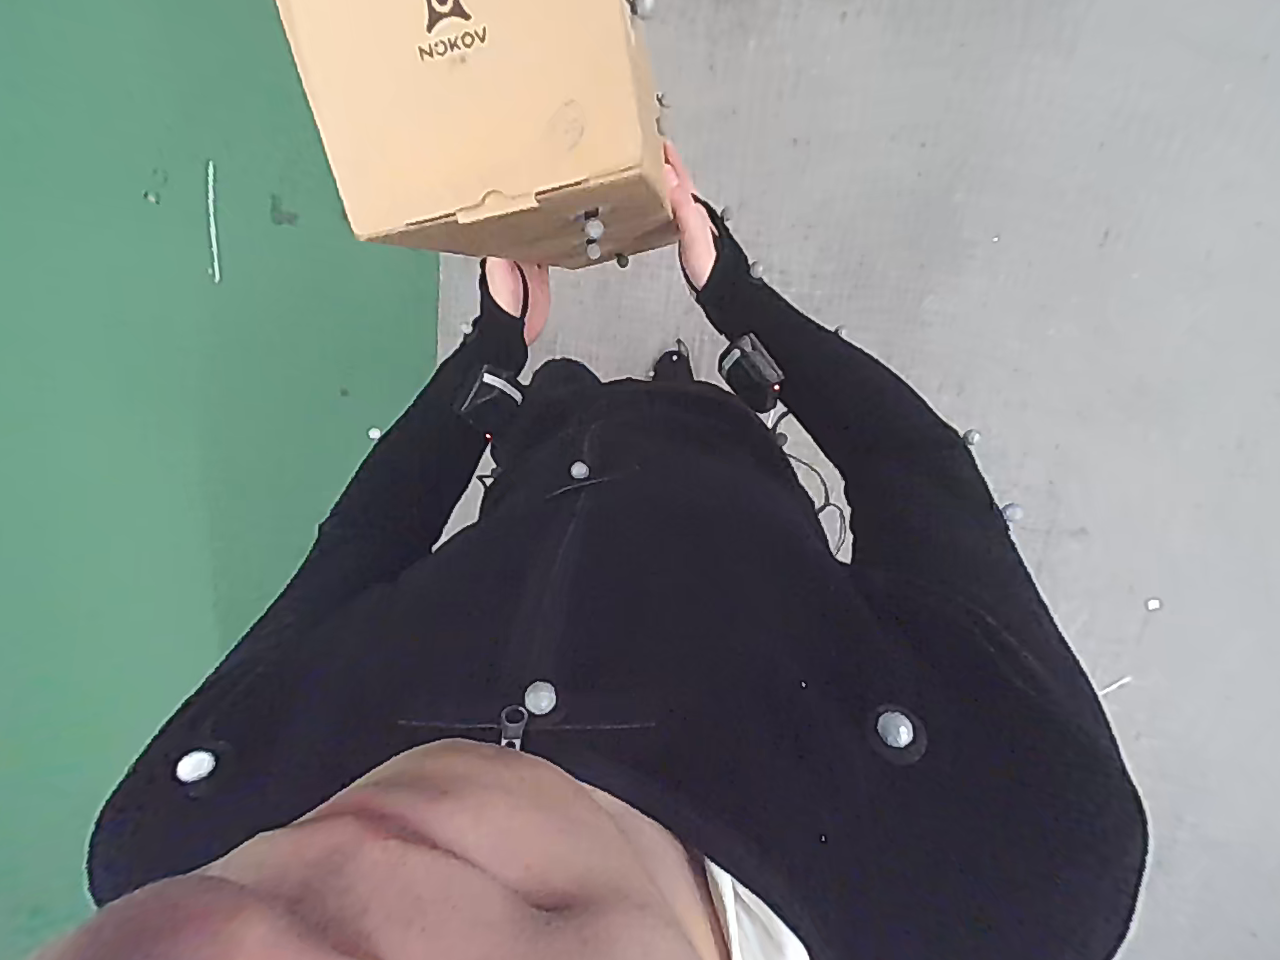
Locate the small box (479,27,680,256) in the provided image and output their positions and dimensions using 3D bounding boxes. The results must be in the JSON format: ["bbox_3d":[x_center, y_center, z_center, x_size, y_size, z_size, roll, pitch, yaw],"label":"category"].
[{"bbox_3d":[-0.060,-0.307,0.481,0.168,0.176,0.179,-9,108,10],"label":"small box"}]

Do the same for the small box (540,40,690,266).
[{"bbox_3d":[-0.038,-0.361,0.634,0.168,0.176,0.179,-9,108,11],"label":"small box"}]

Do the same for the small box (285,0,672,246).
[{"bbox_3d":[-0.077,-0.248,0.329,0.168,0.176,0.179,-7,108,10],"label":"small box"}]
